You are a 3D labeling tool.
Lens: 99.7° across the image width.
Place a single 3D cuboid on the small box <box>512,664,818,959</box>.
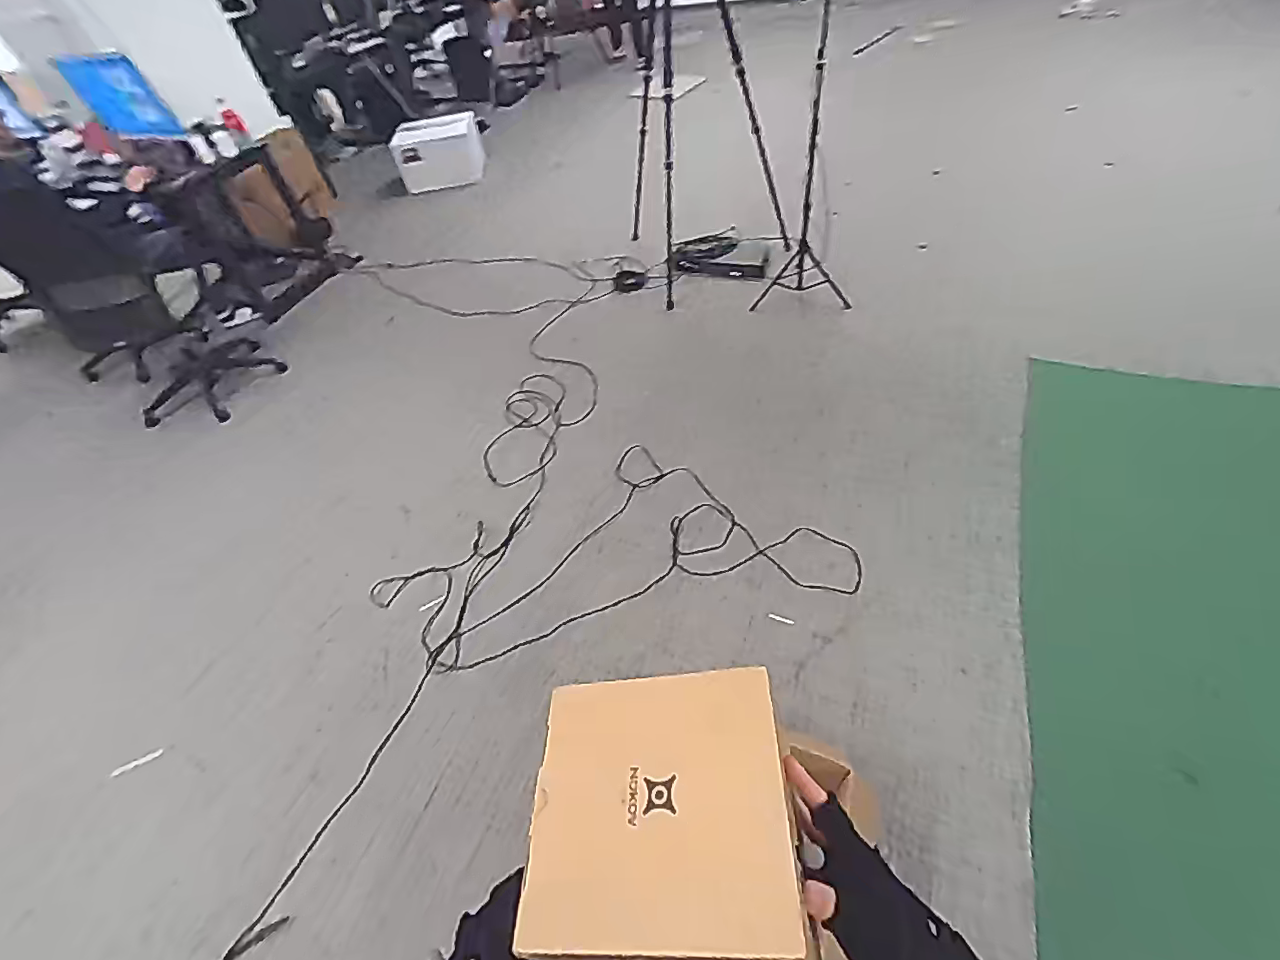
[{"bbox_3d":[0.032,0.261,0.410,0.179,0.176,0.168,-12,44,13],"label":"small box"}]
